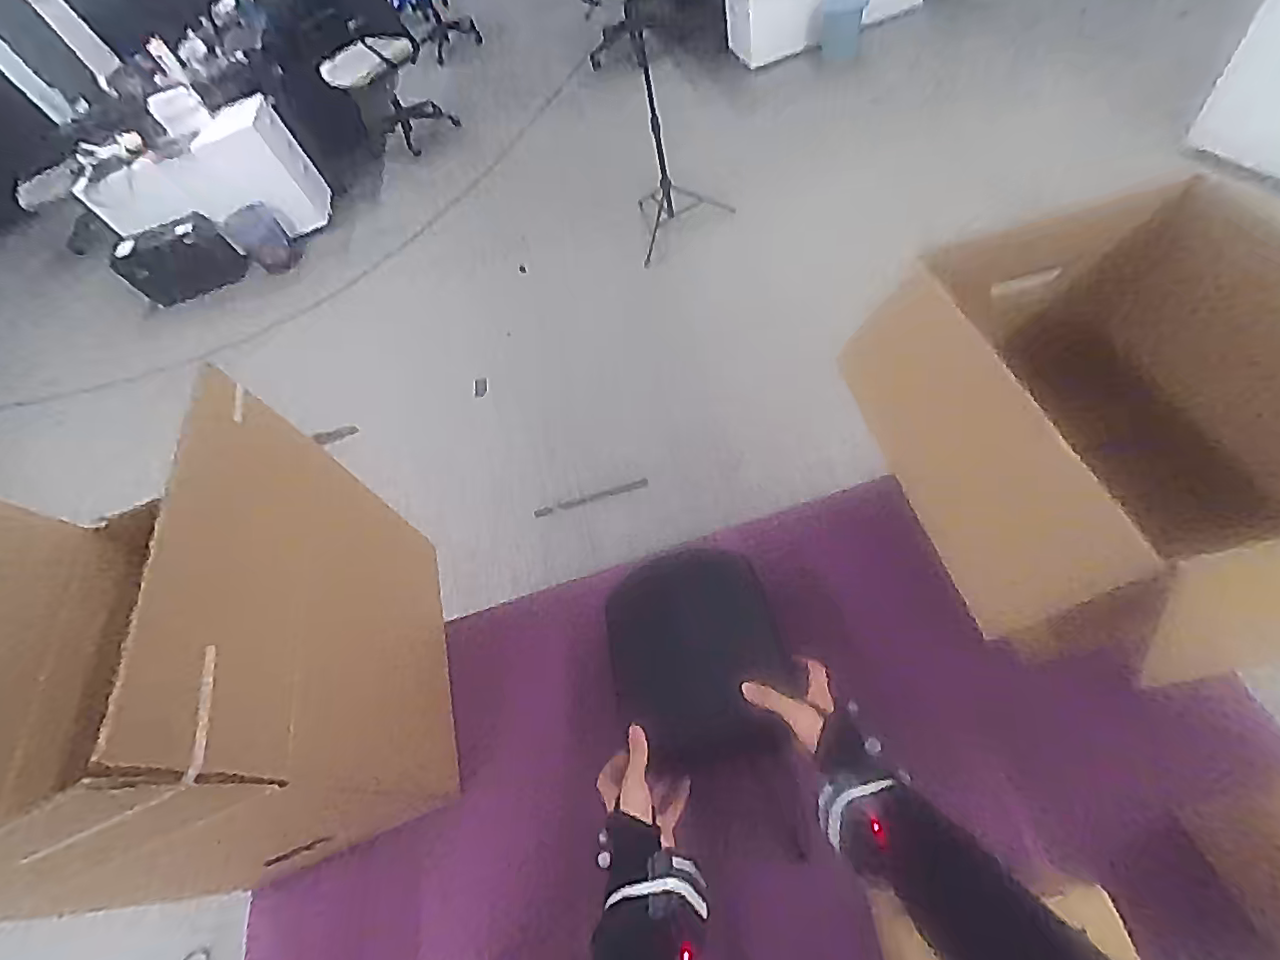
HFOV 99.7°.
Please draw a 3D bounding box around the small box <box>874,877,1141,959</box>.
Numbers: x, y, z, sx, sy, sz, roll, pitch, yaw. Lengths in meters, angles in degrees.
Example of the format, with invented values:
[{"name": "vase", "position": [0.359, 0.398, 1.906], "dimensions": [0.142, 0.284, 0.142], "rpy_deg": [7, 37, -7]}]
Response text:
[{"name": "small box", "position": [0.314, 0.450, 0.452], "dimensions": [0.168, 0.176, 0.179], "rpy_deg": [-13, 57, 7]}]
